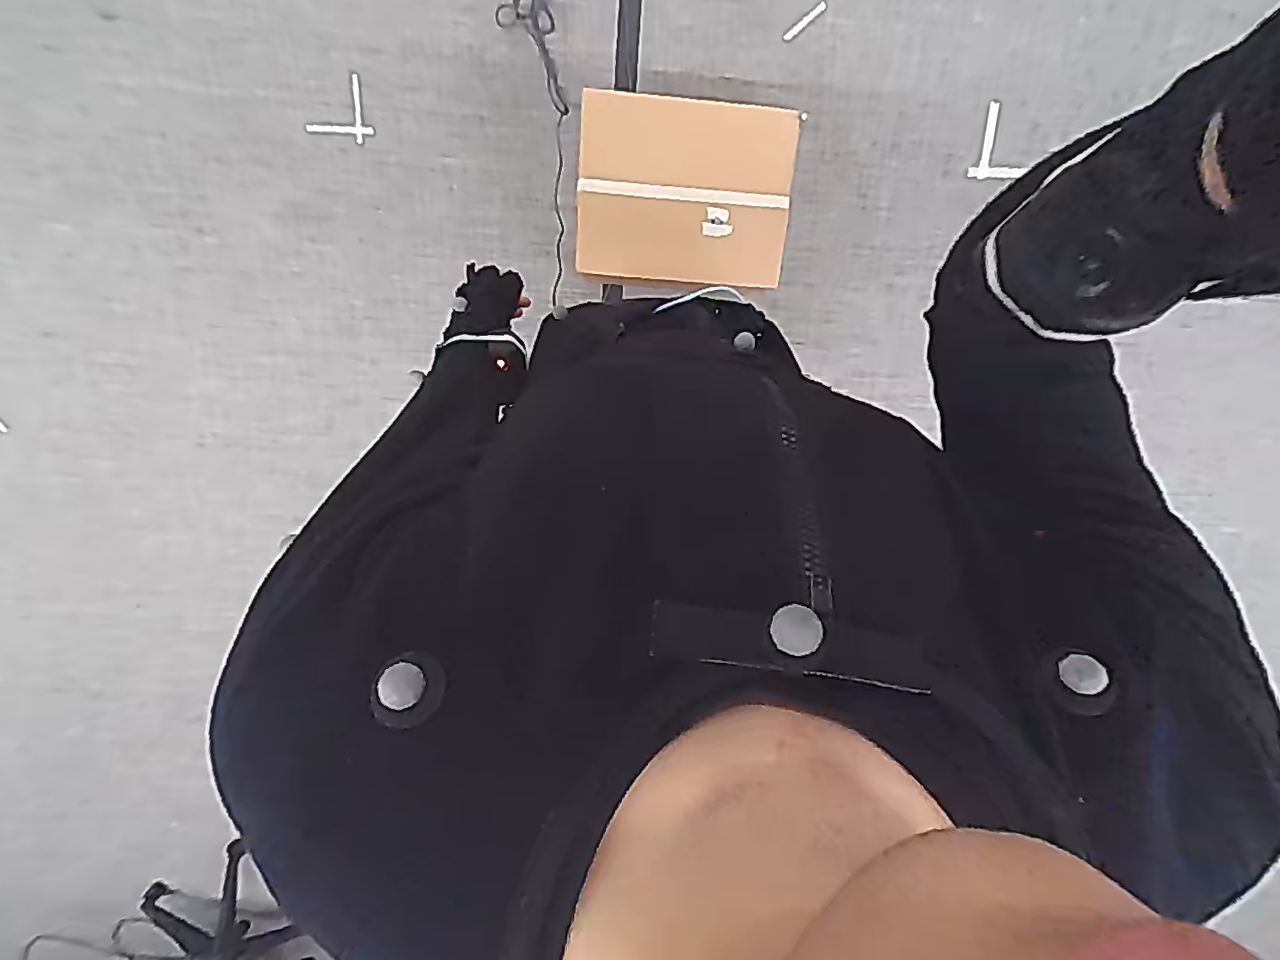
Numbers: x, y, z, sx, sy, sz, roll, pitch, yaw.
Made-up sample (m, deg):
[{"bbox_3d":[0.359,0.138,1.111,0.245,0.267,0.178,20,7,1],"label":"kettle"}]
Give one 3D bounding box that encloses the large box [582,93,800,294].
[{"bbox_3d":[0.082,-0.587,1.178,0.408,0.320,0.320,4,107,-5],"label":"large box"}]
